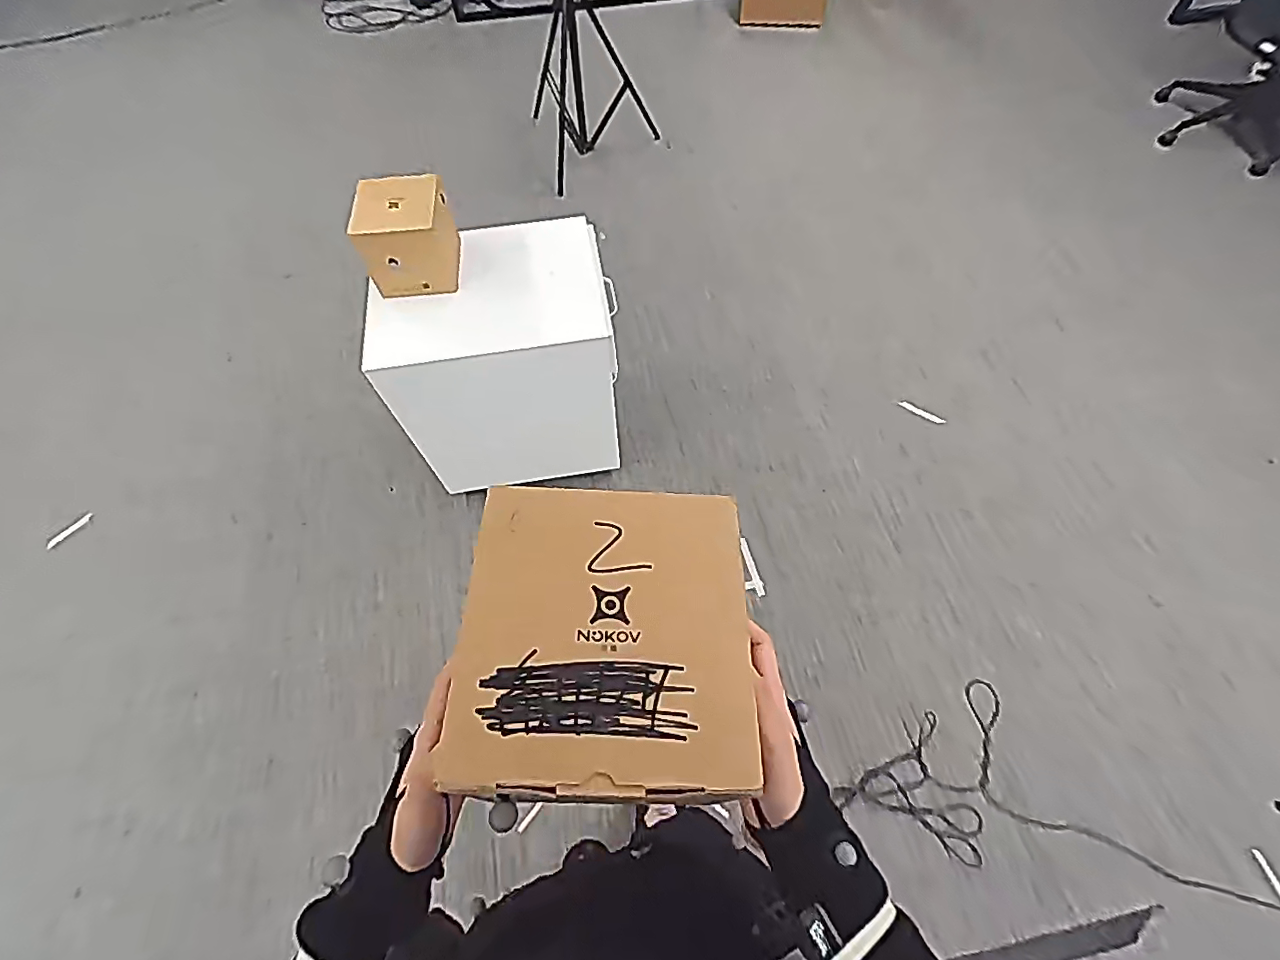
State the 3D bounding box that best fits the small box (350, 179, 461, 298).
[{"bbox_3d":[-0.490,-0.508,1.158,0.168,0.176,0.179,-6,61,-3],"label":"small box"}]
